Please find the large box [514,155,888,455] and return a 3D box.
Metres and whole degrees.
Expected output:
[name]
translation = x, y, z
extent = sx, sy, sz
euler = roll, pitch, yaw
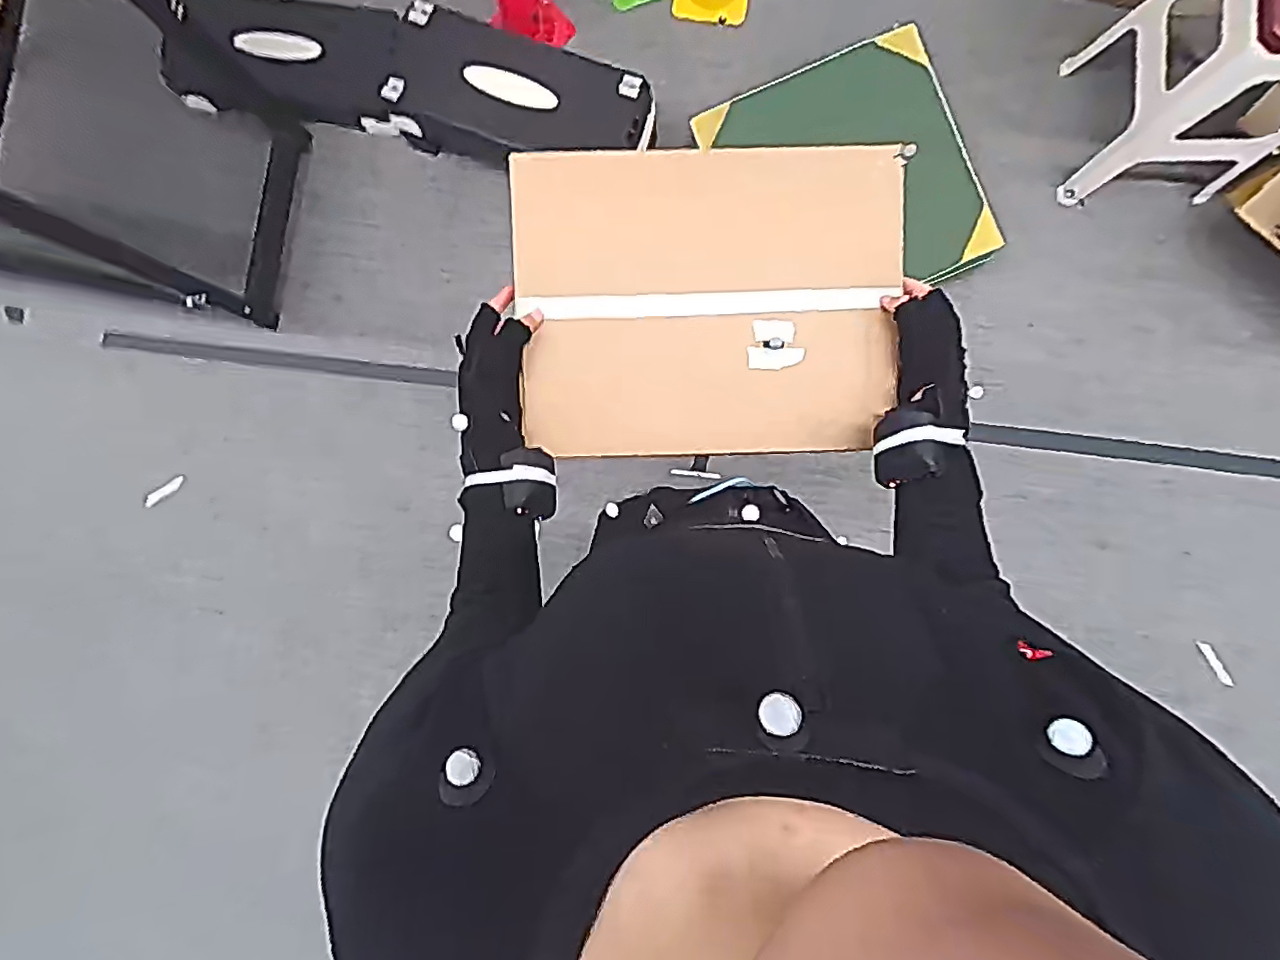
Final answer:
[large box]
translation = 0.065, -0.198, 0.731
extent = 0.408, 0.320, 0.320
euler = -1, 94, -1
